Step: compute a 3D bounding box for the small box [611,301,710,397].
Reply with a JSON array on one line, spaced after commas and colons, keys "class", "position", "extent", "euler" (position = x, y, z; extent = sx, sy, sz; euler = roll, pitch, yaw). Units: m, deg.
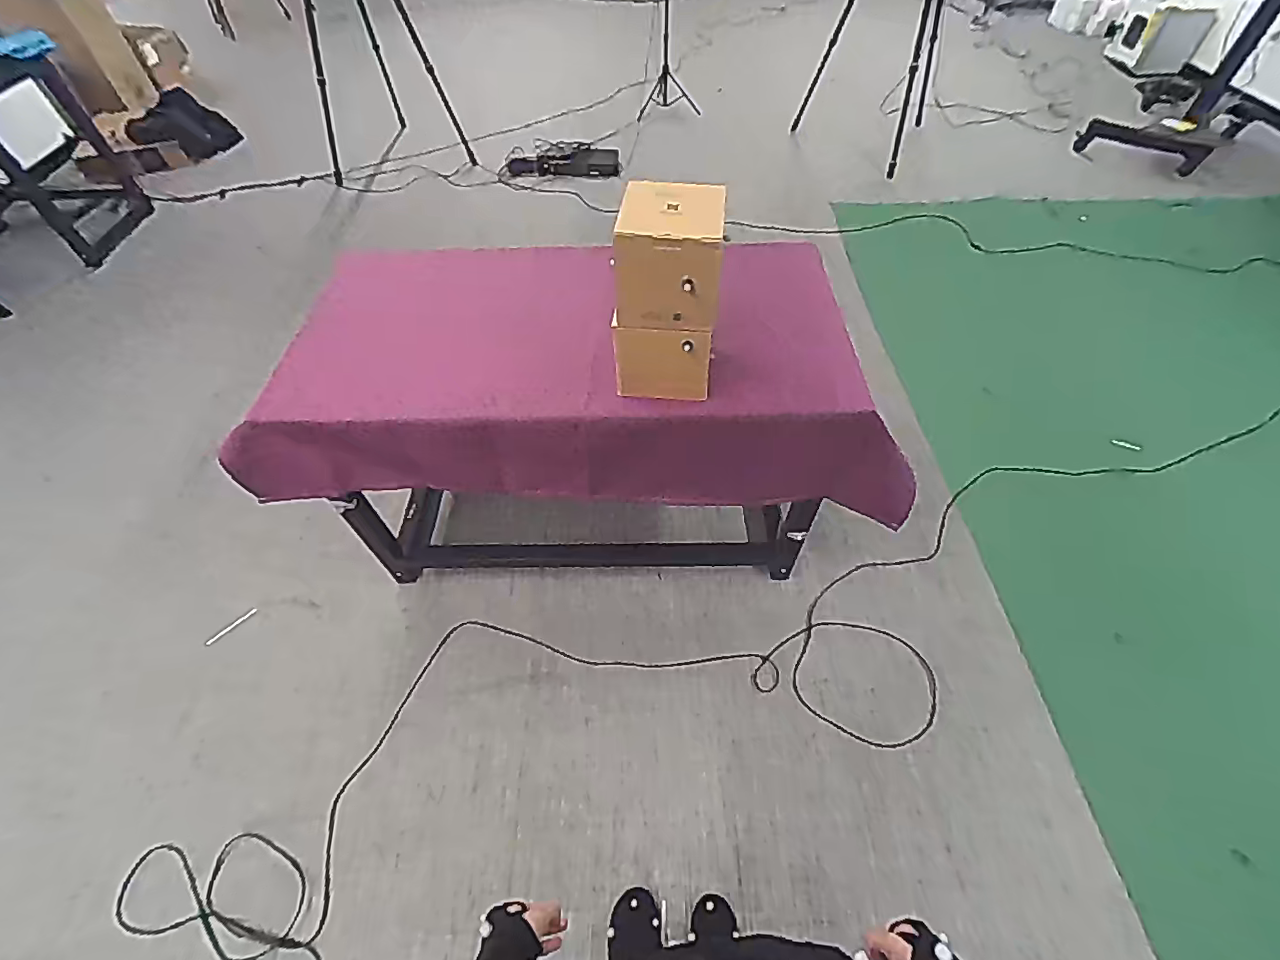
[{"class": "small box", "position": [0.045, -0.277, 1.048], "extent": [0.179, 0.176, 0.168], "euler": [4, 52, 4]}]

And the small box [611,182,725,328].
[{"class": "small box", "position": [0.050, -0.380, 0.922], "extent": [0.168, 0.176, 0.179], "euler": [6, 52, 5]}]
